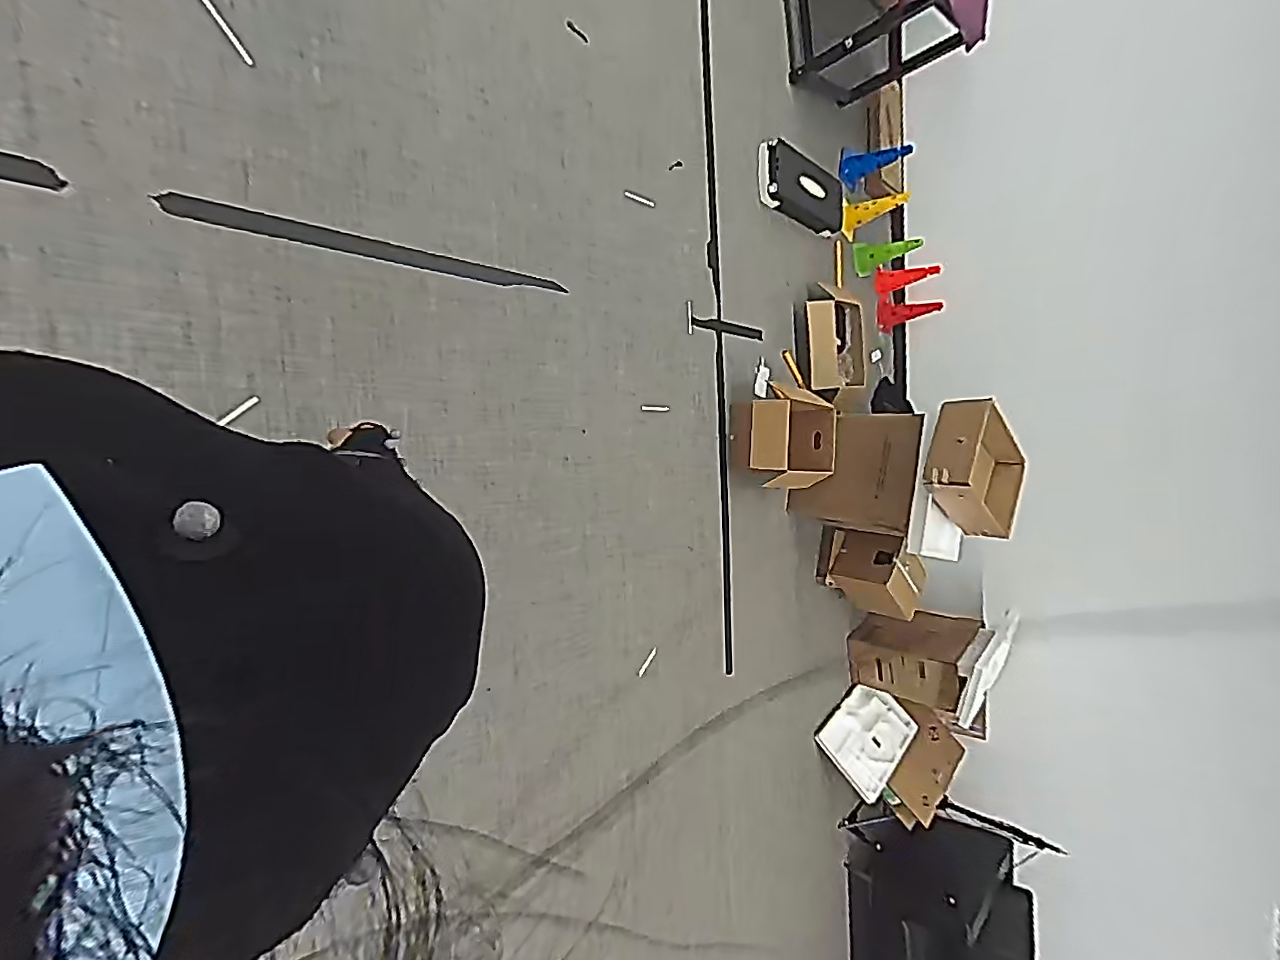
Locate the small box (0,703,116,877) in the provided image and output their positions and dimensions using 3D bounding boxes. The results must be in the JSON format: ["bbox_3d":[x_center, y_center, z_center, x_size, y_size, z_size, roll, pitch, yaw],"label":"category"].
[{"bbox_3d":[-0.967,0.492,0.872,0.168,0.176,0.179,-4,94,-44],"label":"small box"}]

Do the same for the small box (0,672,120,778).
[{"bbox_3d":[-1.085,0.483,0.985,0.168,0.176,0.179,-21,105,-42],"label":"small box"}]
